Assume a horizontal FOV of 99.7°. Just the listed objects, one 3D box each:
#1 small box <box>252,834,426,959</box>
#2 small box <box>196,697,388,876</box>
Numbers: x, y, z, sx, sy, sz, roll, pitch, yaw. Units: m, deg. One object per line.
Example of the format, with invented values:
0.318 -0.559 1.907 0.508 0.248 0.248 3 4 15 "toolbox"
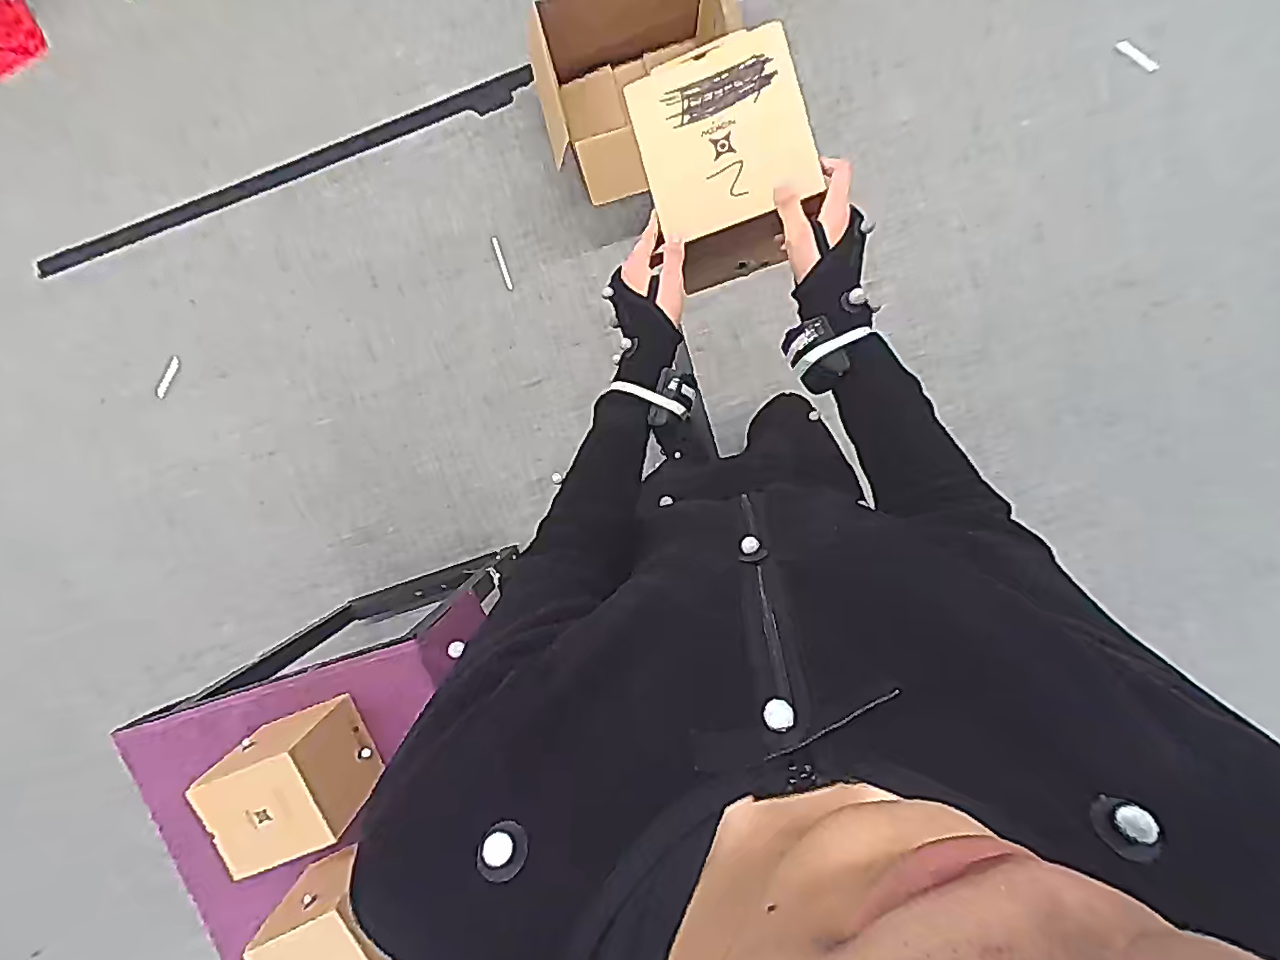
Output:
-0.496 0.760 0.929 0.179 0.176 0.168 -28 95 5 "small box"
-0.562 0.497 0.898 0.179 0.176 0.168 -22 97 5 "small box"
